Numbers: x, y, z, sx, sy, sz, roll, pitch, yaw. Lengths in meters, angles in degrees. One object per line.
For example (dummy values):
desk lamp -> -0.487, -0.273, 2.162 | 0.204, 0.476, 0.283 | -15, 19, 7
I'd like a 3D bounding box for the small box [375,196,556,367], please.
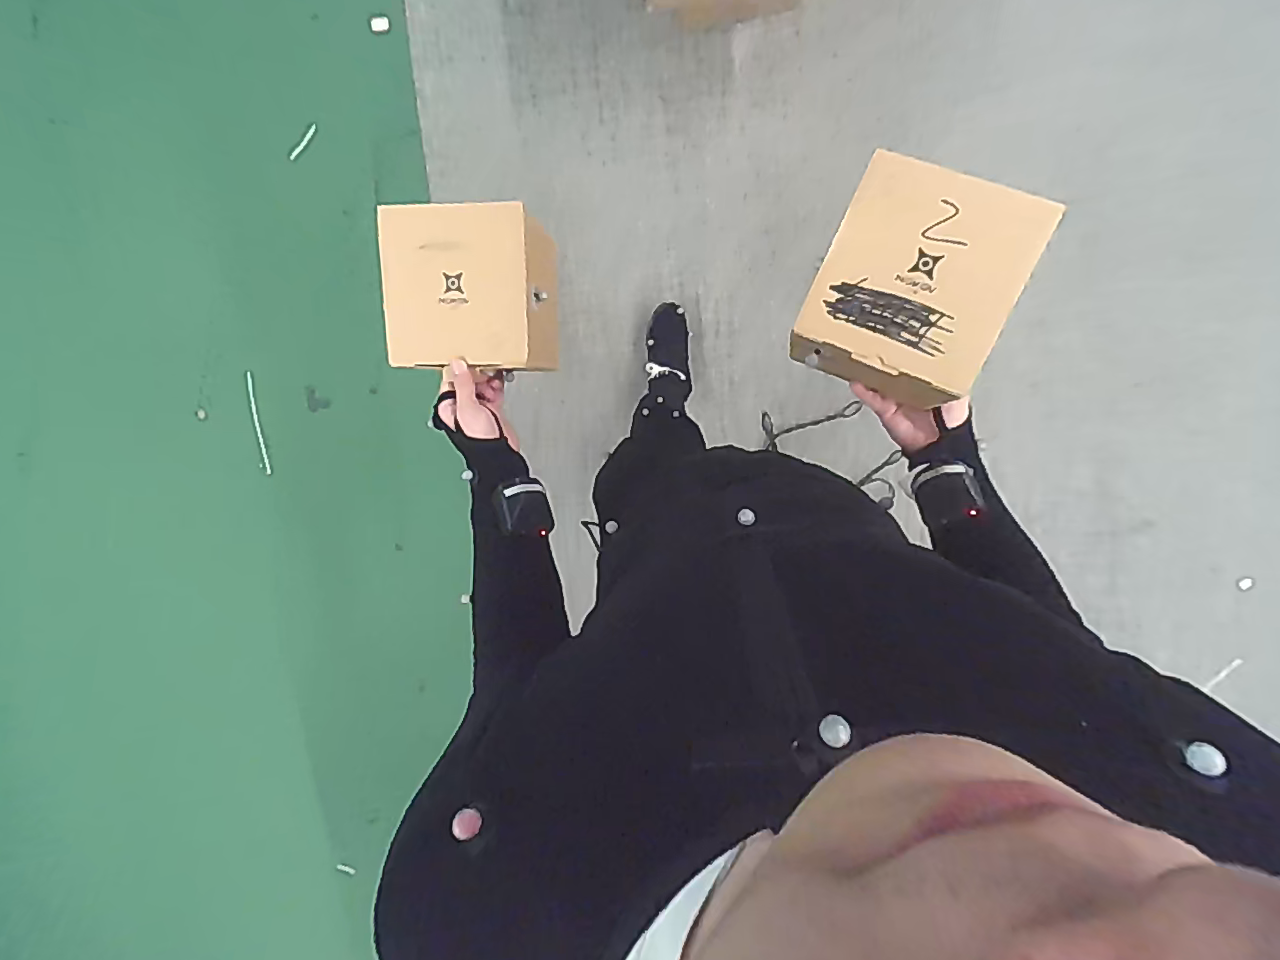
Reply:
small box -> -0.202, -0.233, 0.673 | 0.168, 0.176, 0.179 | 2, 99, 4
